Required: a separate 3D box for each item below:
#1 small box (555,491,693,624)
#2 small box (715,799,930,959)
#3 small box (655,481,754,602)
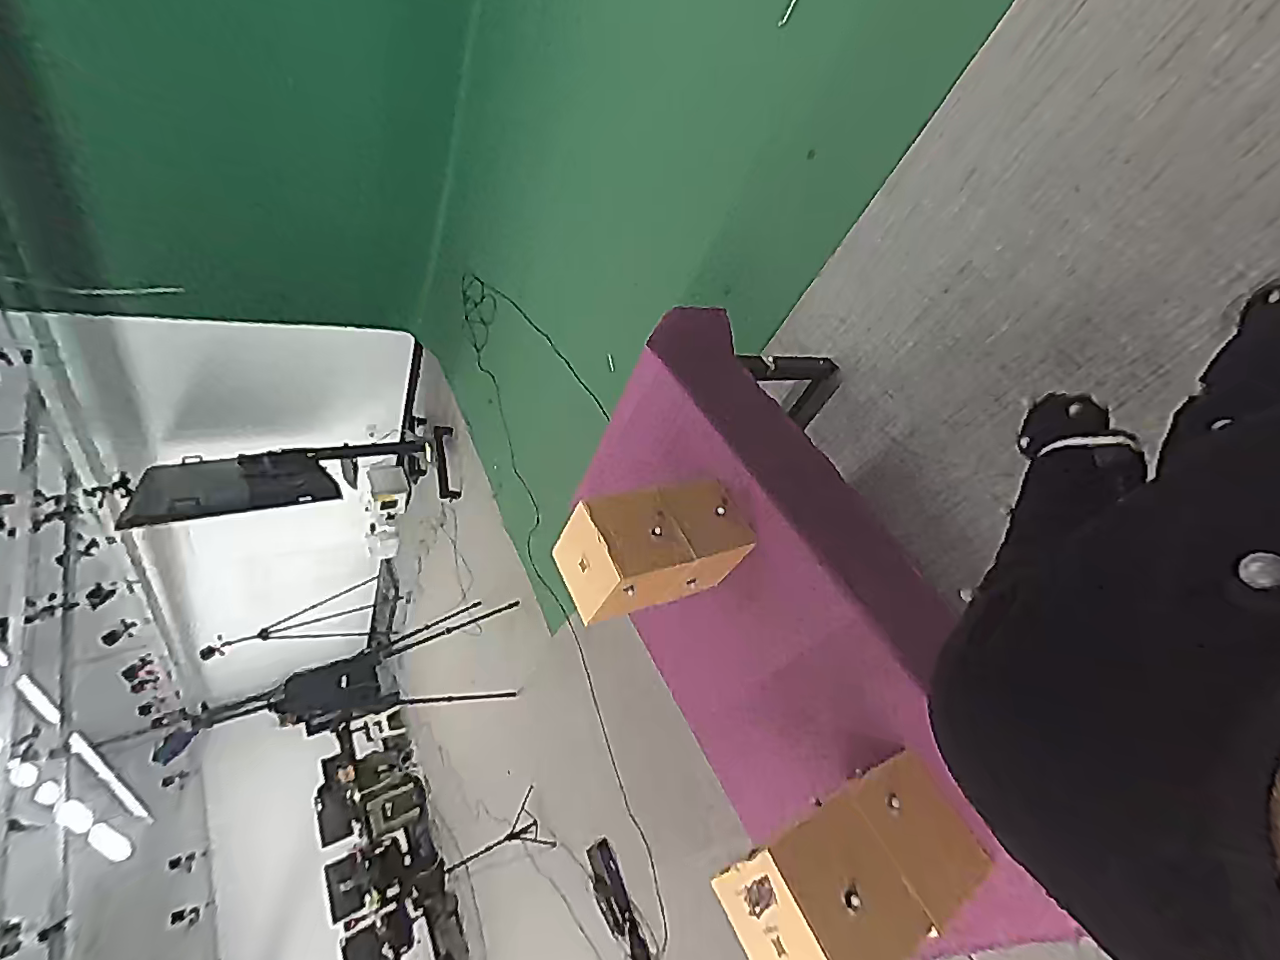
[{"bbox_3d":[-0.032,0.141,1.009,0.168,0.176,0.179,59,137,27],"label":"small box"},{"bbox_3d":[0.242,0.567,0.734,0.179,0.176,0.168,55,137,30],"label":"small box"},{"bbox_3d":[0.099,0.122,1.105,0.168,0.176,0.179,59,138,26],"label":"small box"}]
